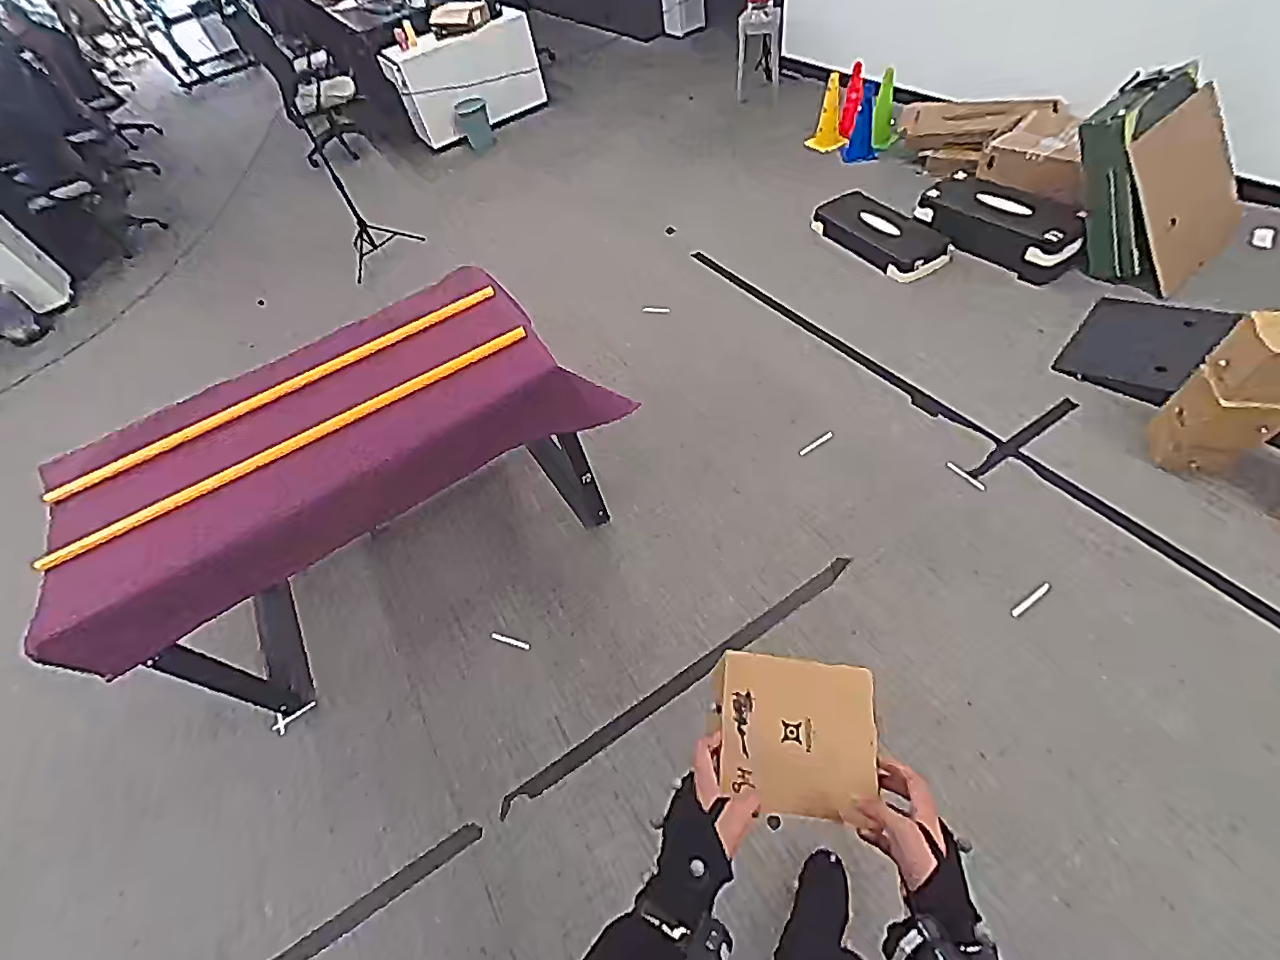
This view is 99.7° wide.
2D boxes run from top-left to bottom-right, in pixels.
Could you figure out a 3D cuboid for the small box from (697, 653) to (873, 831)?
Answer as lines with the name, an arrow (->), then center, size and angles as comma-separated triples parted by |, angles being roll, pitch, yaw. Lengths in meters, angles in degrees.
small box -> 0.173, 0.329, 0.688 | 0.179, 0.176, 0.168 | 7, 62, 3
